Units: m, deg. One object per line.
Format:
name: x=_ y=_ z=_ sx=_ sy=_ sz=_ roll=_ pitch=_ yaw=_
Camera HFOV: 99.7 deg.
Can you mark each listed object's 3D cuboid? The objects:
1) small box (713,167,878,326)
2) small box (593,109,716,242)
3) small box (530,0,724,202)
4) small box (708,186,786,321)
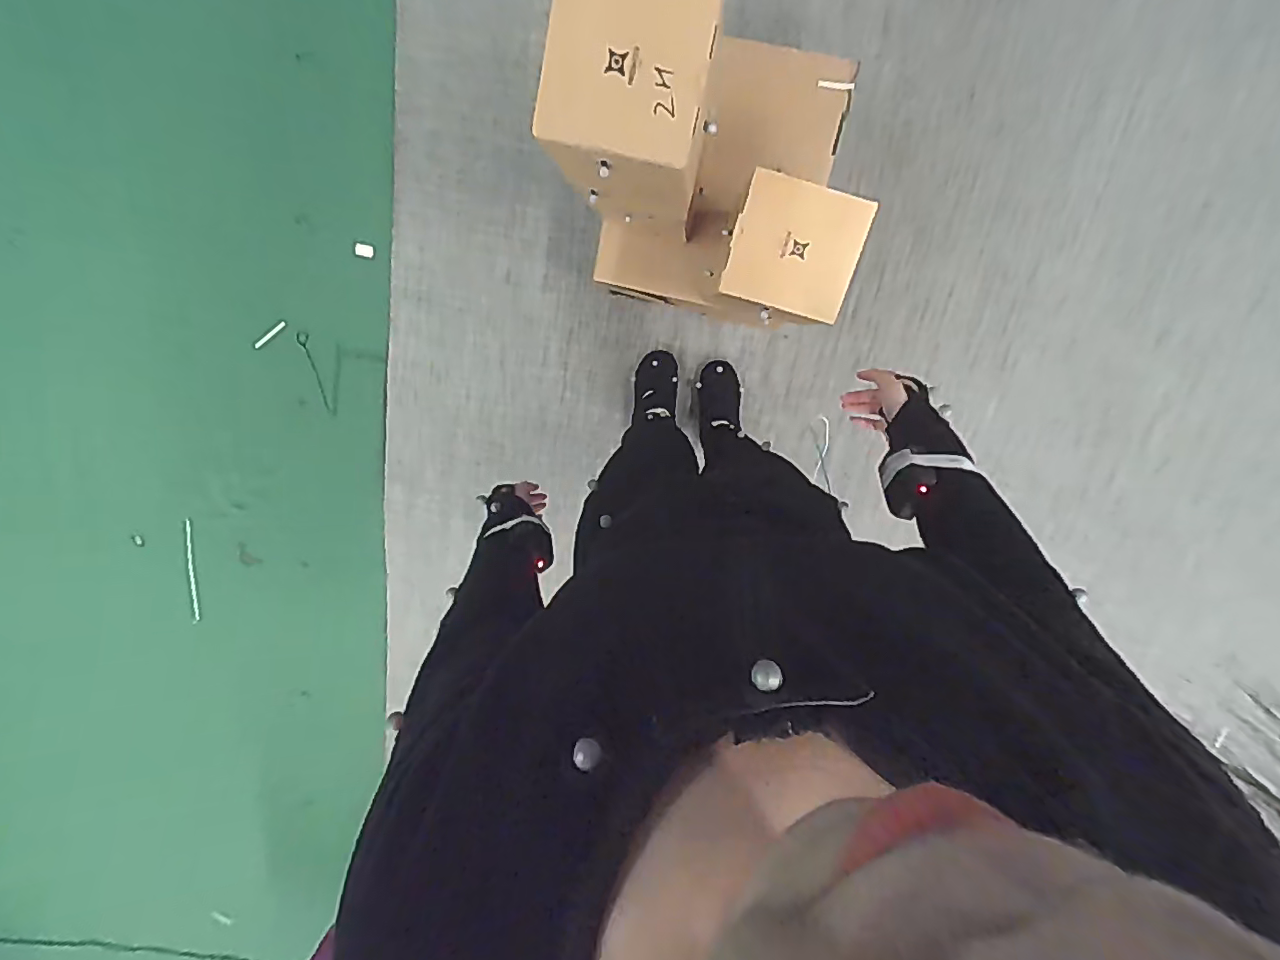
small box: x=0.219 y=-0.339 z=0.815 sx=0.179 sy=0.176 sz=0.168 roll=16 pitch=106 yaw=0
small box: x=0.027 y=-0.542 z=0.948 sx=0.168 sy=0.176 sz=0.179 roll=16 pitch=105 yaw=2
small box: x=-0.009 y=-0.446 z=0.634 sx=0.179 sy=0.176 sz=0.168 roll=14 pitch=105 yaw=3
small box: x=0.224 y=-0.391 z=0.969 sx=0.168 sy=0.176 sz=0.179 roll=16 pitch=105 yaw=0
